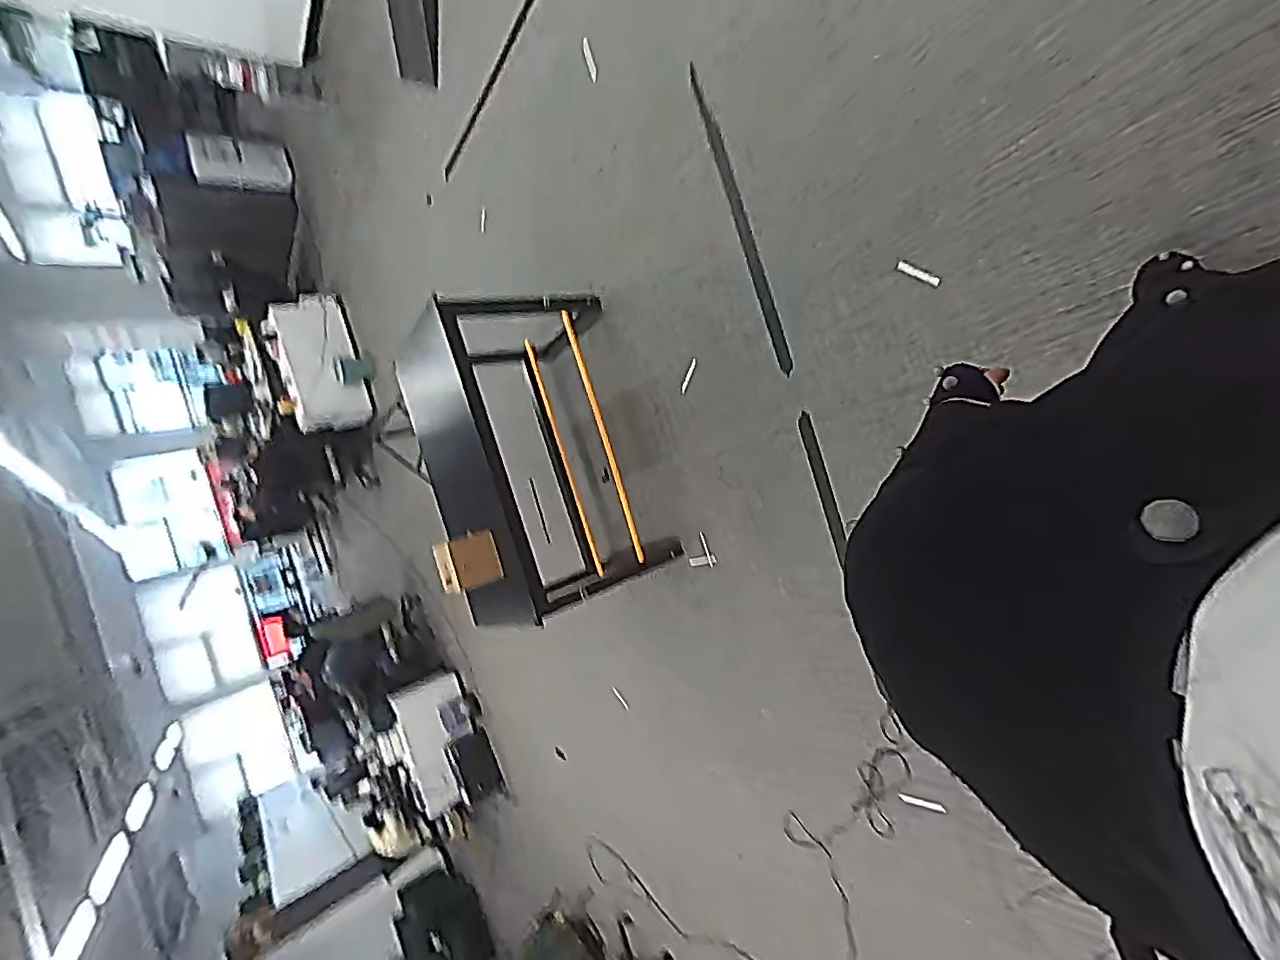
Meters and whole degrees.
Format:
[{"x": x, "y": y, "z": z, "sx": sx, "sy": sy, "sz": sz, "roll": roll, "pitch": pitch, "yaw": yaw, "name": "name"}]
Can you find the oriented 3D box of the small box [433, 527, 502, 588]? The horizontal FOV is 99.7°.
[{"x": -0.623, "y": 0.282, "z": 1.963, "sx": 0.168, "sy": 0.176, "sz": 0.179, "roll": -17, "pitch": 89, "yaw": 51, "name": "small box"}]
